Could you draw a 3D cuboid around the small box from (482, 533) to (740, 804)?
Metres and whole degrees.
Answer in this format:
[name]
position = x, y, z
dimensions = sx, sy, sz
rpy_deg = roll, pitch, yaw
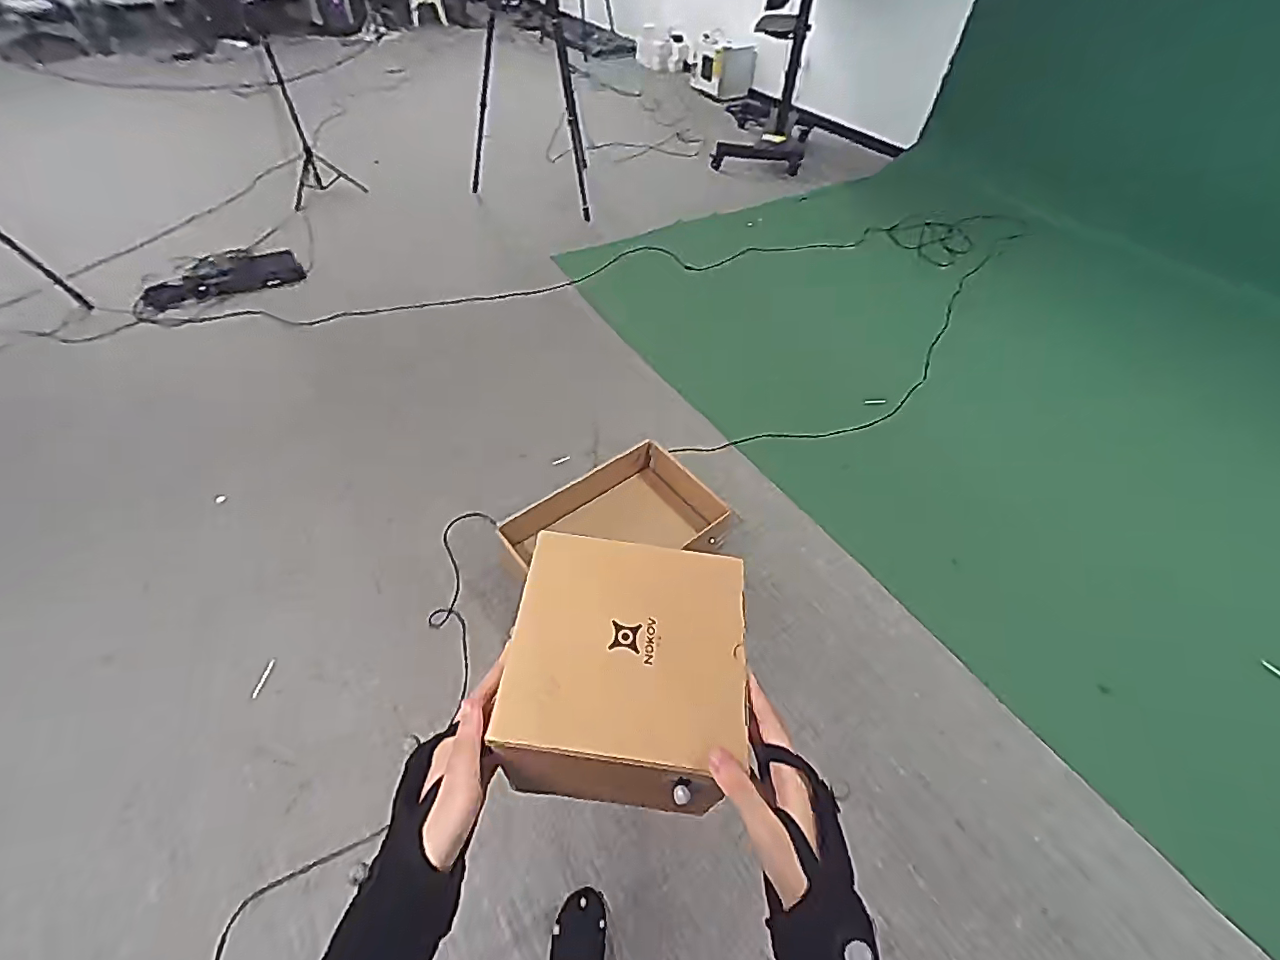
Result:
[small box]
position = -0.018, 0.168, 0.468
dimensions = 0.179, 0.176, 0.168
rpy_deg = 8, 51, -1
